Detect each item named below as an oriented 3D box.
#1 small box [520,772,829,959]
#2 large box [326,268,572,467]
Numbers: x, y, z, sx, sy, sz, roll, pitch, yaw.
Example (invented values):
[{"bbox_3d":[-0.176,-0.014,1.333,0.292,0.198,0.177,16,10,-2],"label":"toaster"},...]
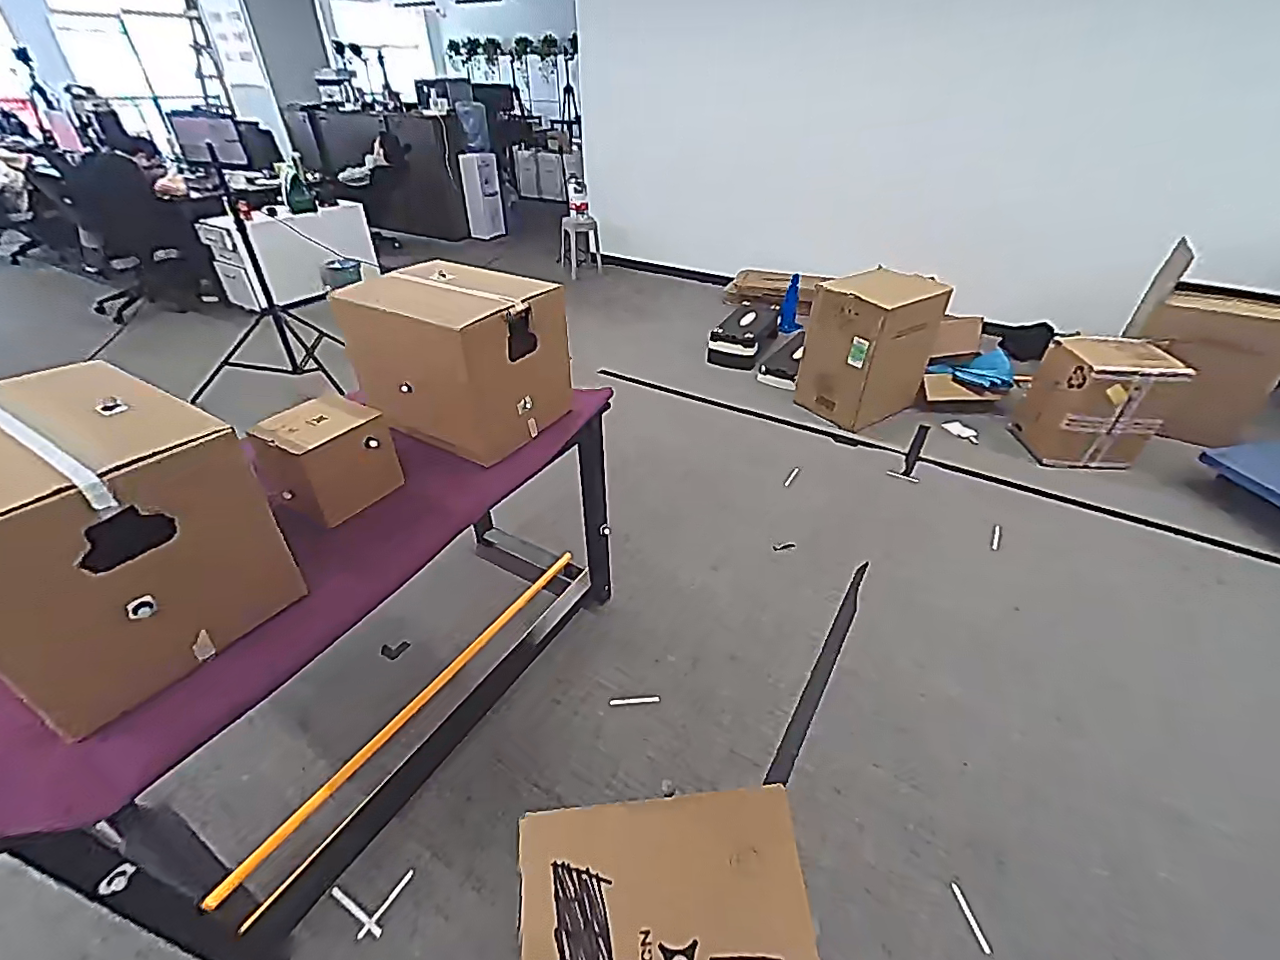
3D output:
[{"bbox_3d":[0.026,0.310,0.373,0.179,0.176,0.168,-8,57,1],"label":"small box"},{"bbox_3d":[-0.415,-0.274,1.250,0.408,0.320,0.320,18,39,25],"label":"large box"}]
